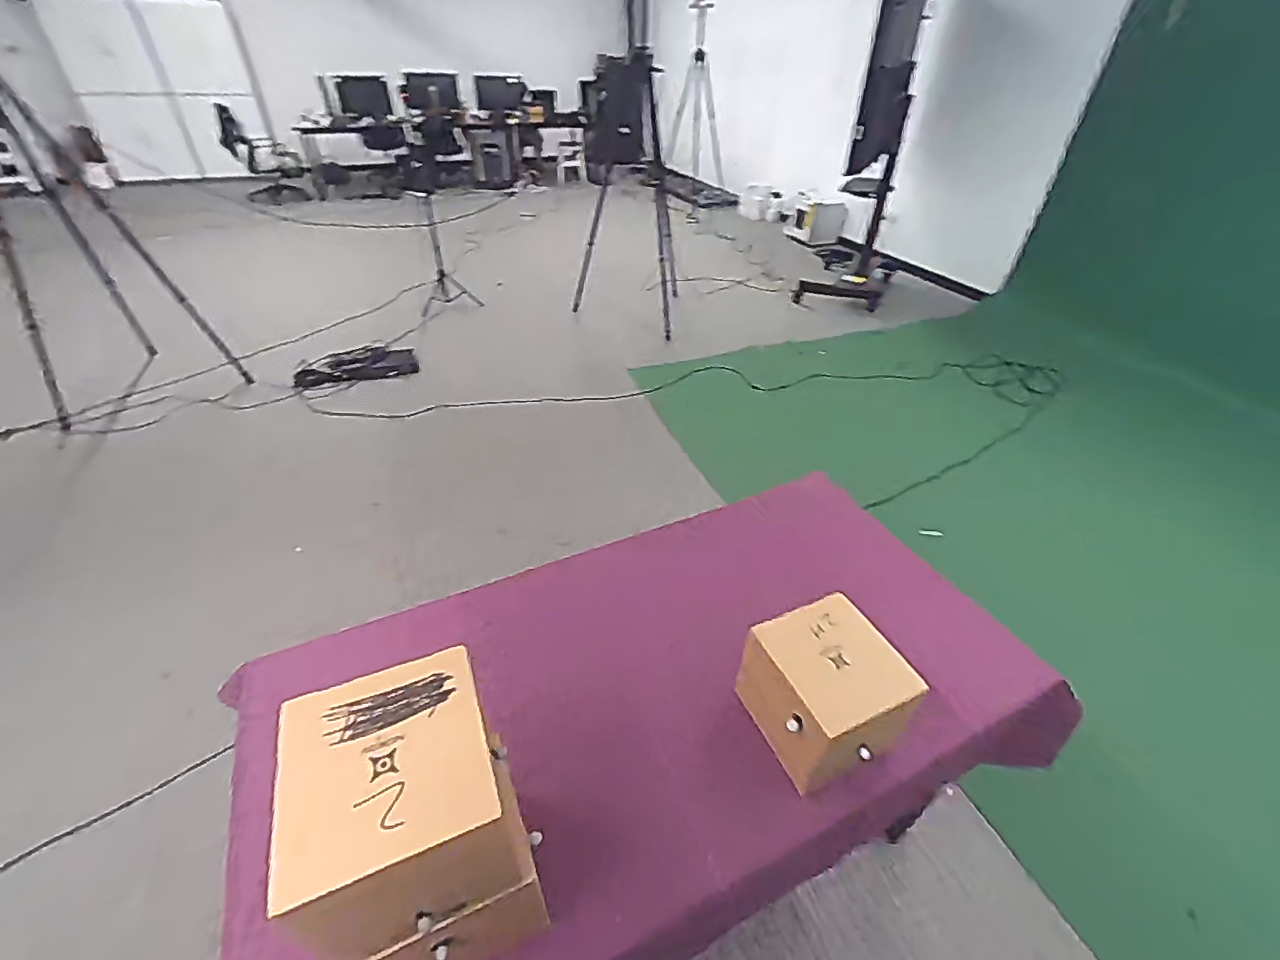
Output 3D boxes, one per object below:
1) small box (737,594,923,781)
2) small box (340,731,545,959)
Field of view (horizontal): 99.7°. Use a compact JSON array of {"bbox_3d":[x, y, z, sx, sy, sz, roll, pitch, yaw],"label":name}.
[{"bbox_3d":[0.260,0.303,0.784,0.168,0.176,0.179,-15,41,-19],"label":"small box"},{"bbox_3d":[-0.219,0.431,0.614,0.179,0.176,0.168,-15,41,-20],"label":"small box"}]
